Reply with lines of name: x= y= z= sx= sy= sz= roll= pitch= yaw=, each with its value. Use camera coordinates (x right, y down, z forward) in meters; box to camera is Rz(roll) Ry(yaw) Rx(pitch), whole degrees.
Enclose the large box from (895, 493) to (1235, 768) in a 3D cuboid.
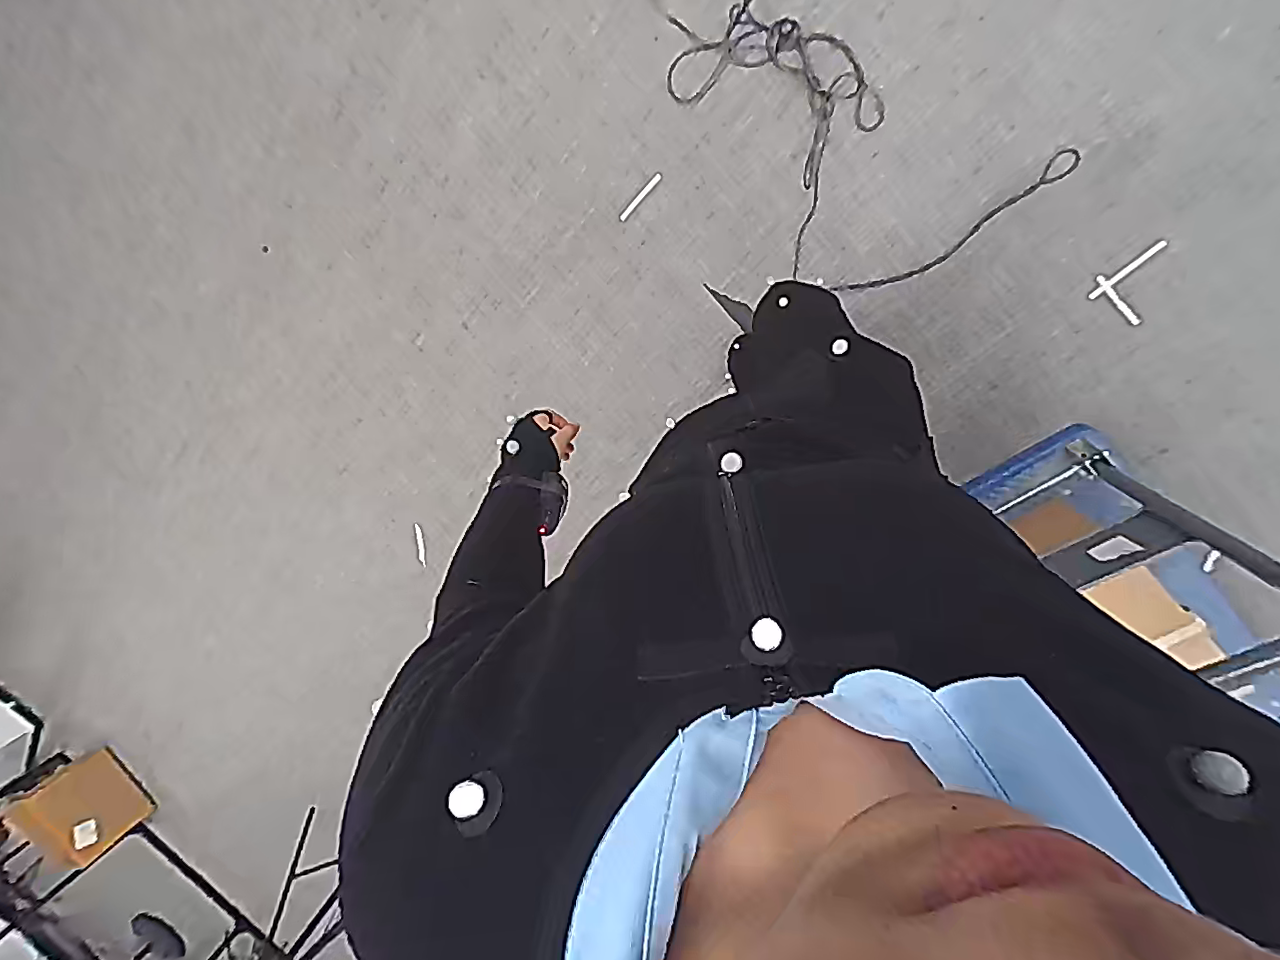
large box: x=0.820 y=0.299 z=1.126 sx=0.320 sy=0.320 sz=0.408 roll=46 pitch=115 yaw=-2
